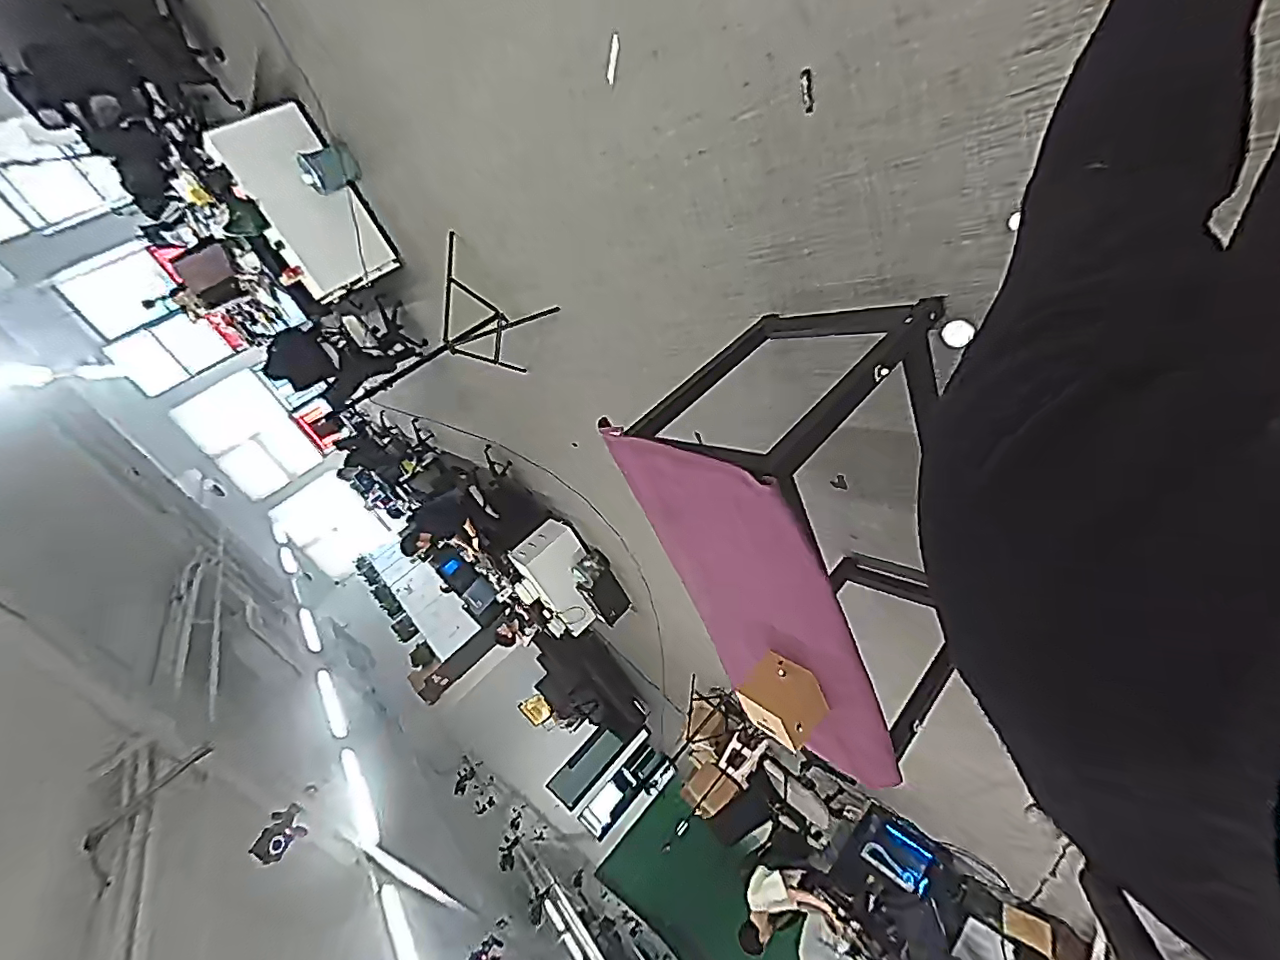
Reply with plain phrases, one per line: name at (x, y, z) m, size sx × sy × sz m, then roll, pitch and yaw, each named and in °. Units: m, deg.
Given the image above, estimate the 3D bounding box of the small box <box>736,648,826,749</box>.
small box at (0.415, 0.629, 1.571) m, size 0.168 × 0.176 × 0.179 m, roll 16°, pitch 140°, yaw 51°
